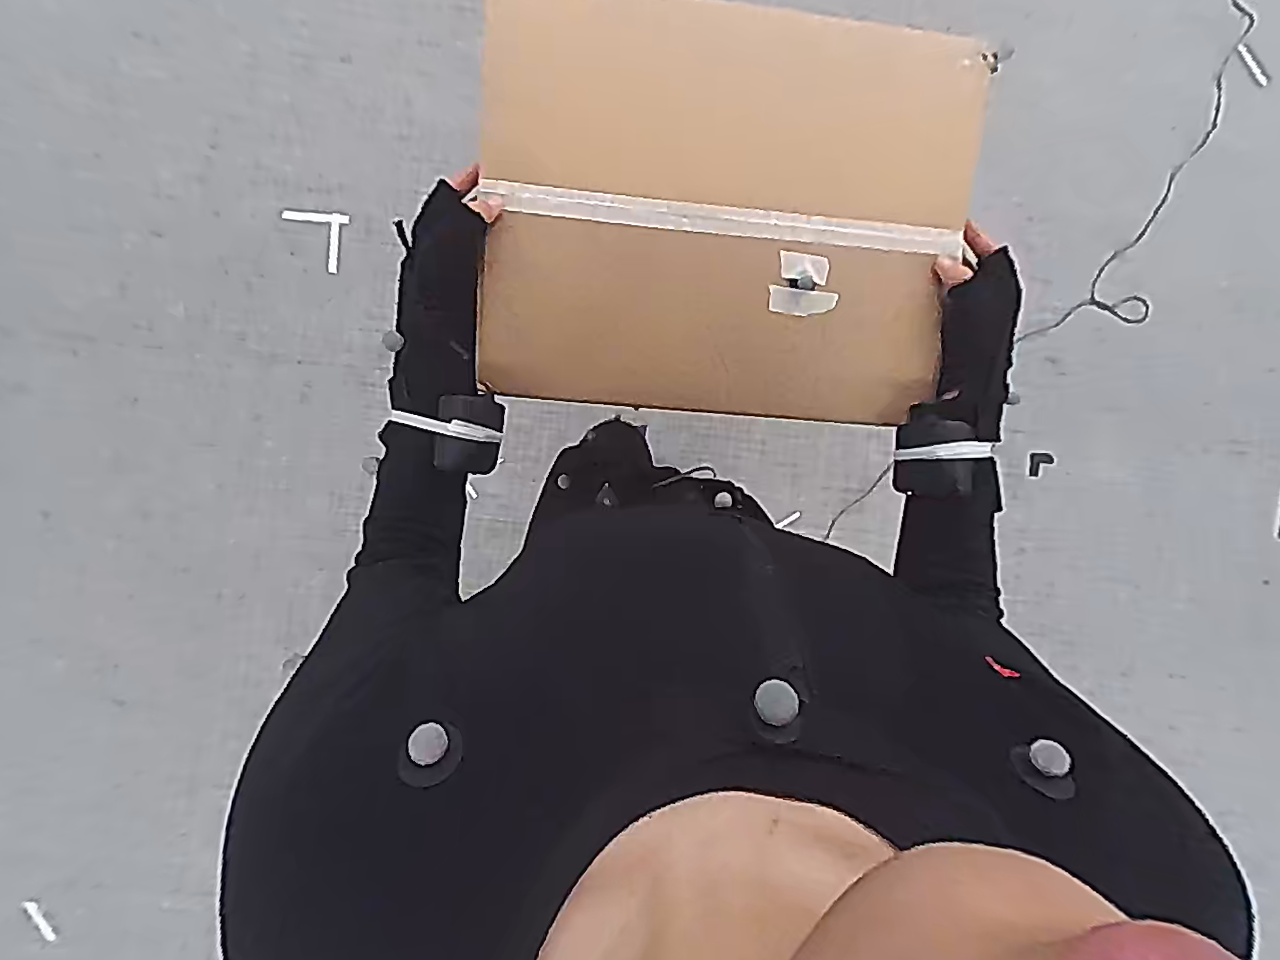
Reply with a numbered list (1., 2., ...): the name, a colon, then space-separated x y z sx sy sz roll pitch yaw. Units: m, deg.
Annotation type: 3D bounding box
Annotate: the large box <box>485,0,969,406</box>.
1. large box: 0.056 -0.255 0.605 0.408 0.320 0.320 3 102 -6
